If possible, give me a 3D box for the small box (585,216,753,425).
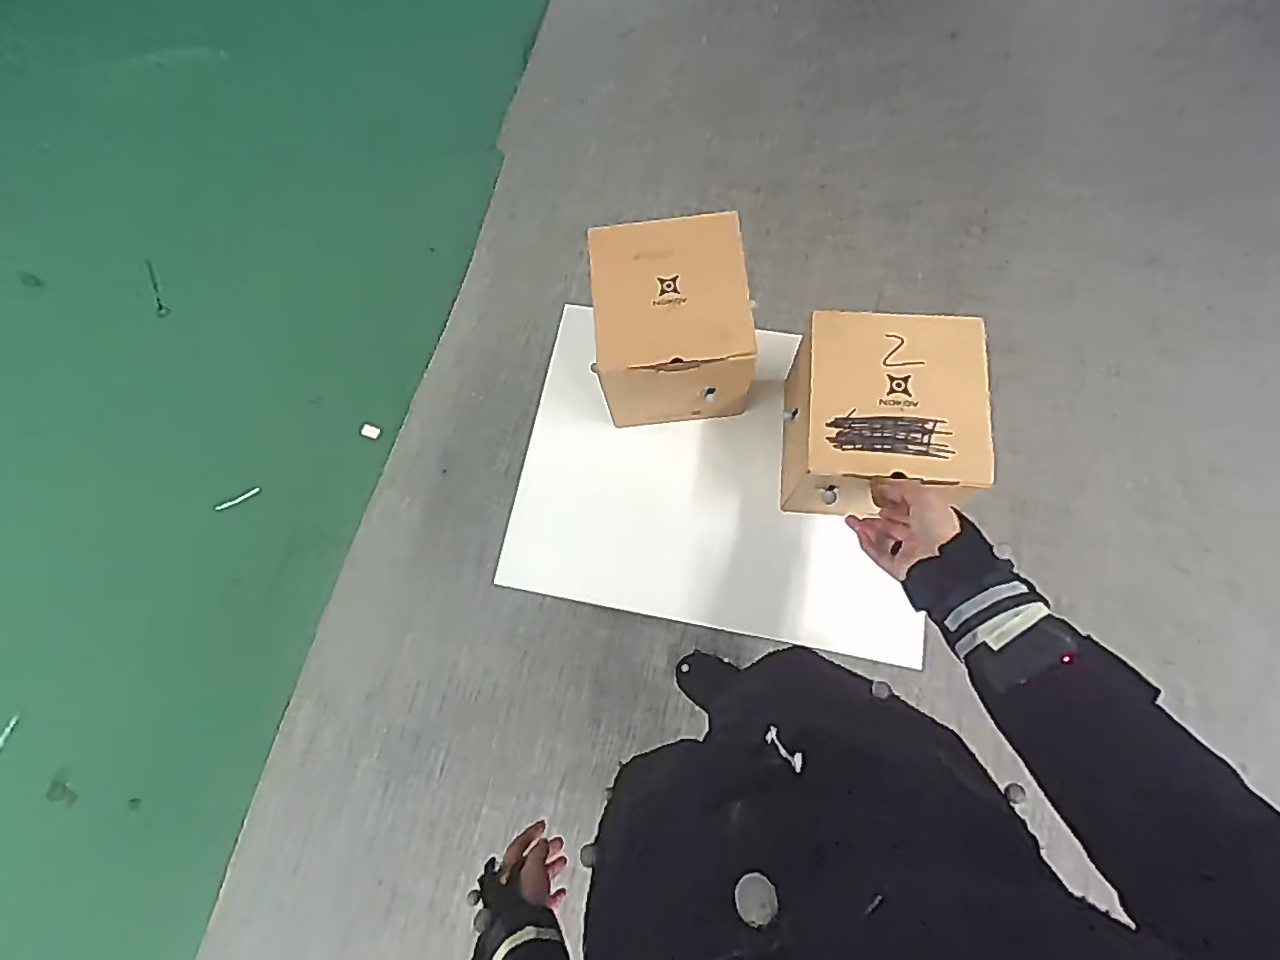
[{"bbox_3d":[0.032,-0.172,0.639,0.168,0.176,0.179,-6,75,2],"label":"small box"}]
